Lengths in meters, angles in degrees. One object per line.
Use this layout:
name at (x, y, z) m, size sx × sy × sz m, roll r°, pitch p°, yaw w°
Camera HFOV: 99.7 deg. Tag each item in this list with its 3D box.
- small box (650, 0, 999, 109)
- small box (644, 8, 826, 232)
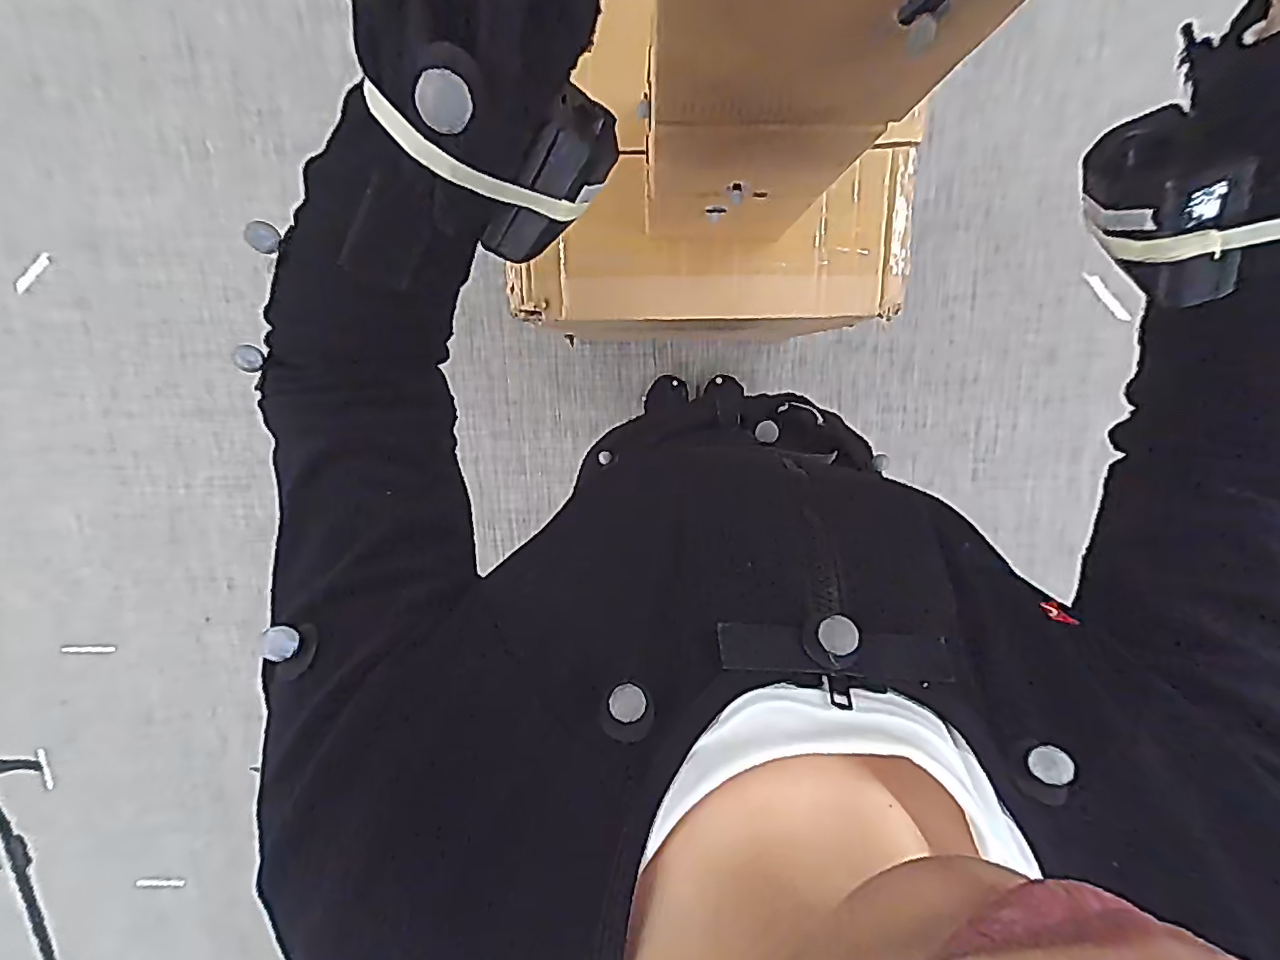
small box at (0.095, -0.319, 0.277) m, size 0.179 × 0.176 × 0.168 m, roll 0°, pitch 102°, yaw 1°
small box at (0.095, -0.382, 0.600) m, size 0.179 × 0.176 × 0.168 m, roll 1°, pitch 102°, yaw 1°
